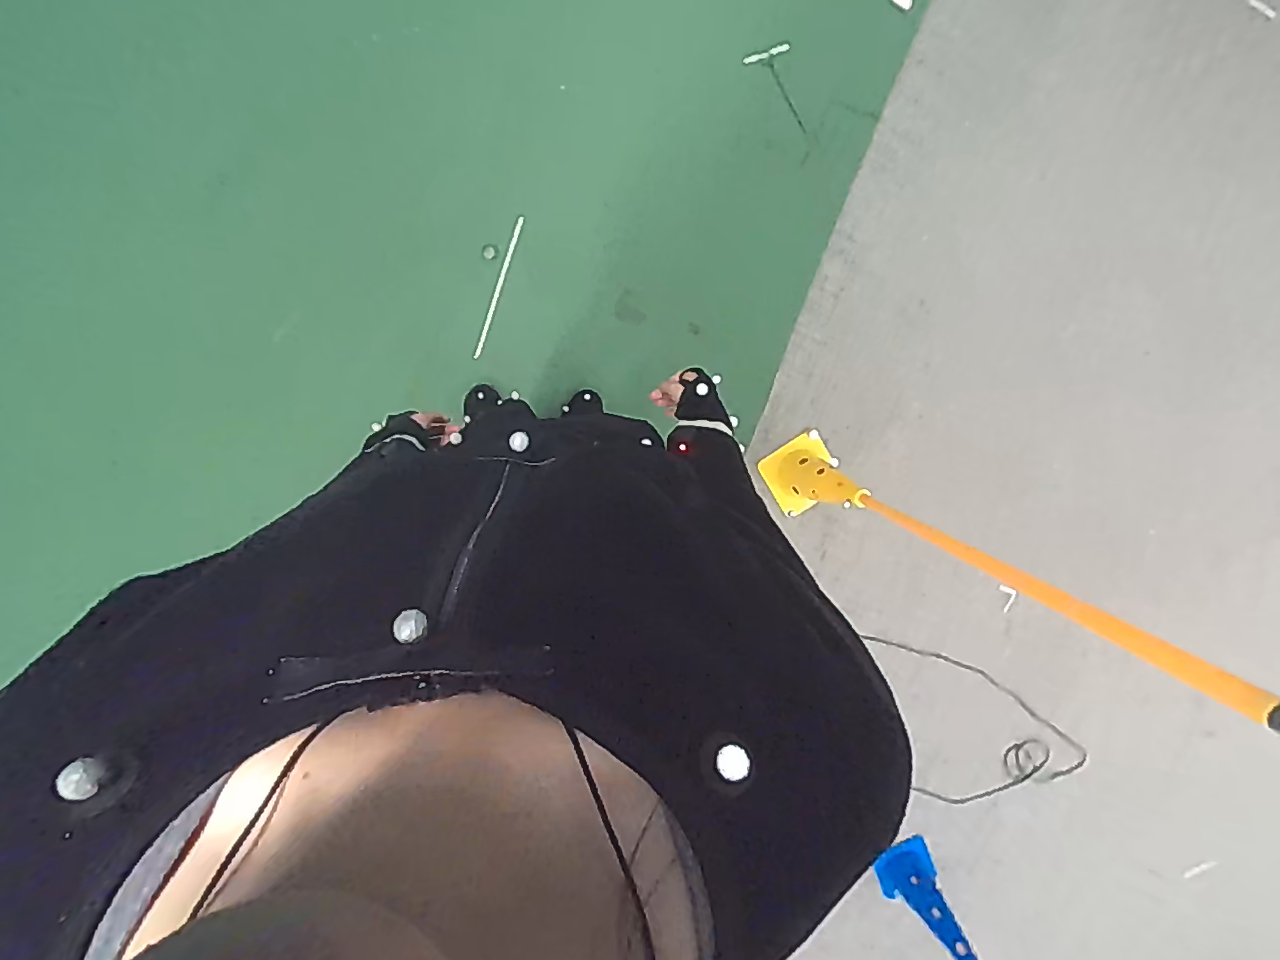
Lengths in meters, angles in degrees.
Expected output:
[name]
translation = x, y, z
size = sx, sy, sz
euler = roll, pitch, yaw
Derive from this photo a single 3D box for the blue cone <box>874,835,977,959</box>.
[blue cone]
translation = 0.928, 1.342, 1.682
size = 0.192, 0.380, 0.193
euler = -25, 105, -2
